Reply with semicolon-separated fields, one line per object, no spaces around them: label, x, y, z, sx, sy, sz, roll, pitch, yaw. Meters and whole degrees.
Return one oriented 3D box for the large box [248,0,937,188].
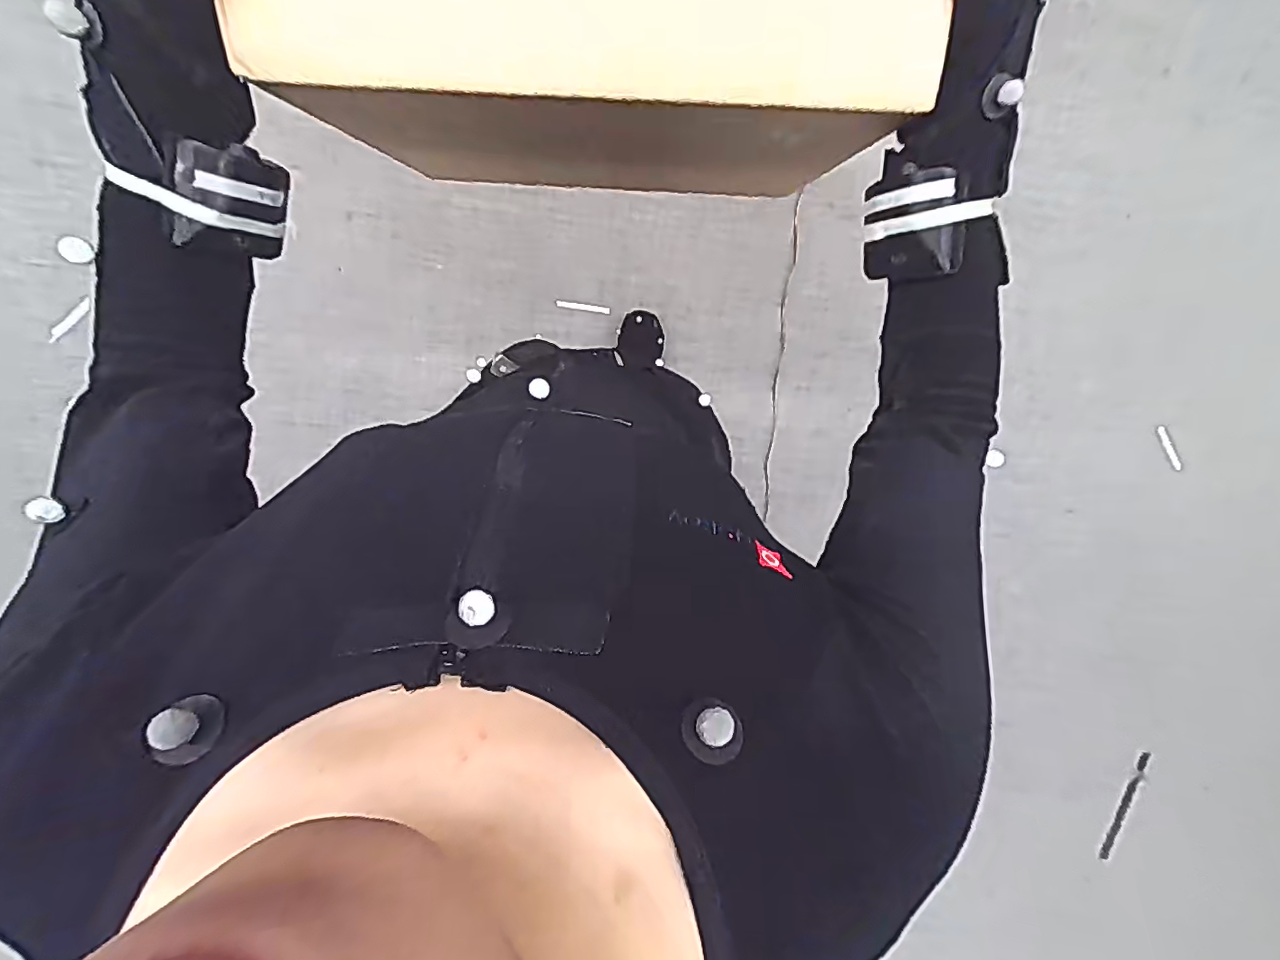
large box;-0.027;-0.428;0.417;0.408;0.320;0.320;1;109;-1
